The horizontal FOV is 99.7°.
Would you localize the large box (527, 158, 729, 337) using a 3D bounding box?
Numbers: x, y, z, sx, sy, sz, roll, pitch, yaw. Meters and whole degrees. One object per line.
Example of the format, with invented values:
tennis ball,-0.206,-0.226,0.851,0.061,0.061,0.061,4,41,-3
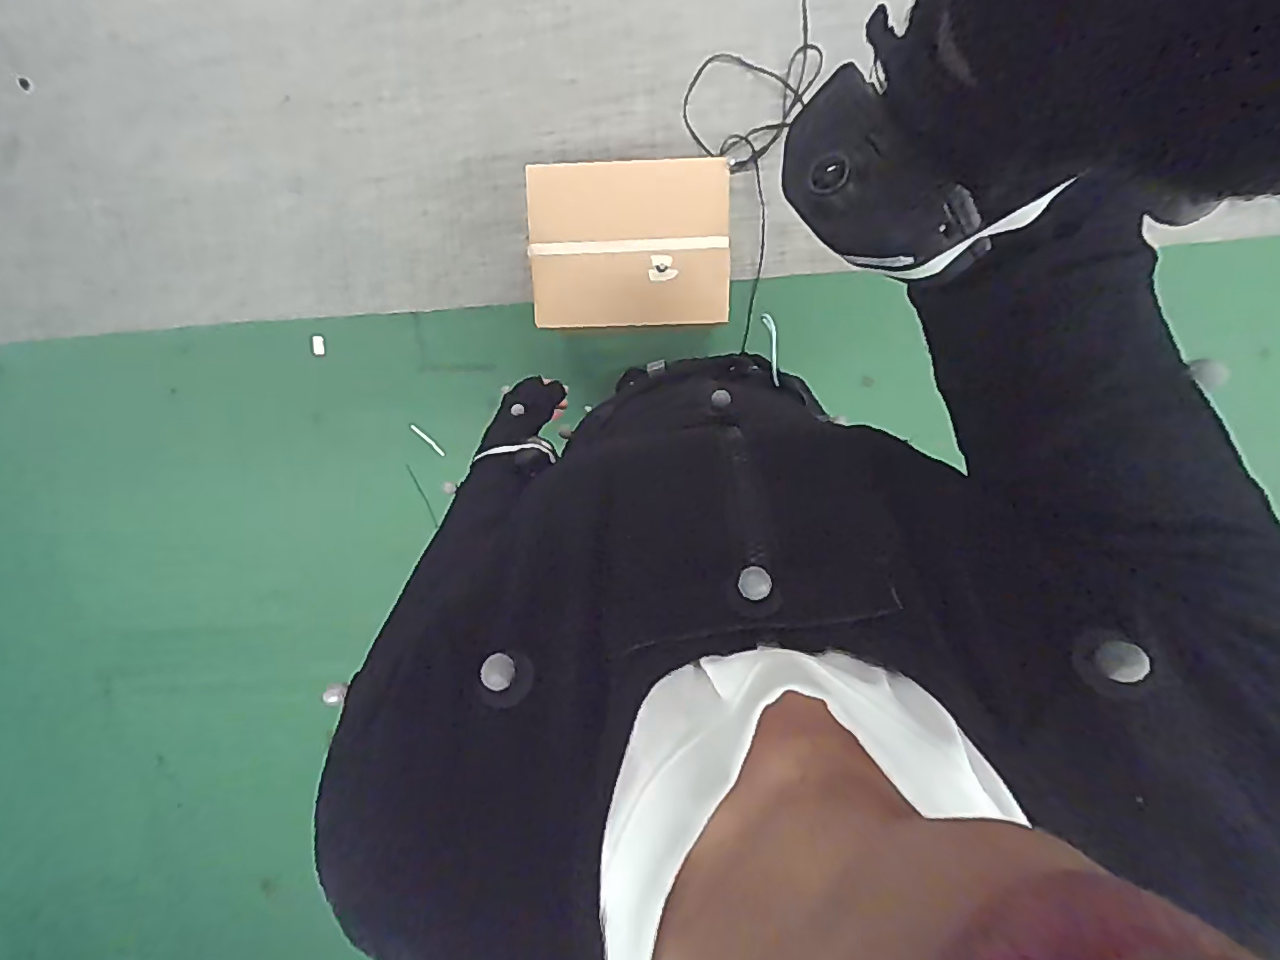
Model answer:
large box,-0.020,-0.505,1.240,0.408,0.320,0.320,-2,103,1
